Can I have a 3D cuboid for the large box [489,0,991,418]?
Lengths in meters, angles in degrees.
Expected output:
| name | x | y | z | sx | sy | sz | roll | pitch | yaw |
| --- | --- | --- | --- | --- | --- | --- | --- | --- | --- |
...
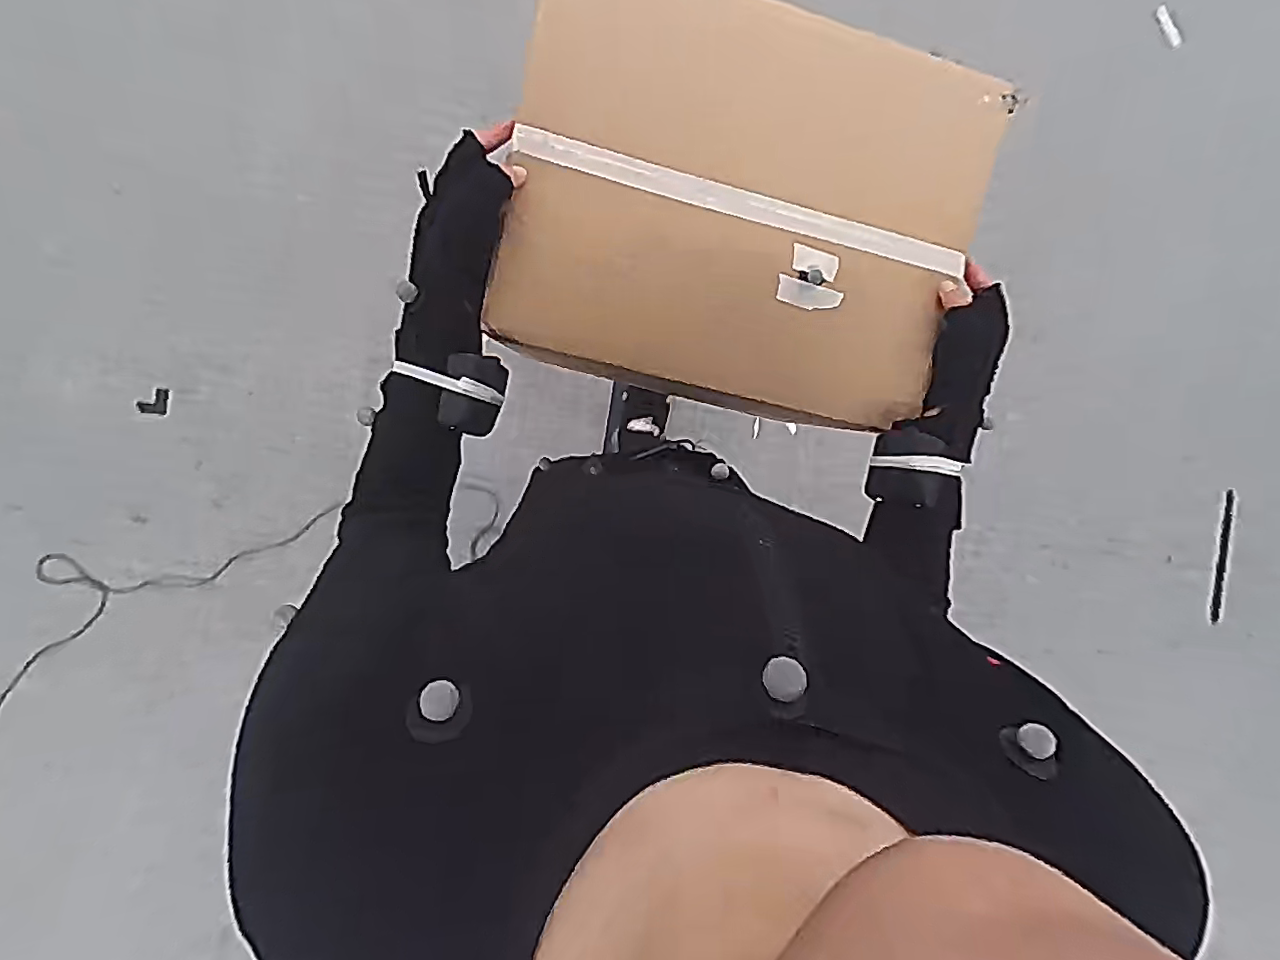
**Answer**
| name | x | y | z | sx | sy | sz | roll | pitch | yaw |
| --- | --- | --- | --- | --- | --- | --- | --- | --- | --- |
| large box | 0.073 | -0.266 | 0.617 | 0.408 | 0.320 | 0.320 | 12 | 99 | -9 |
